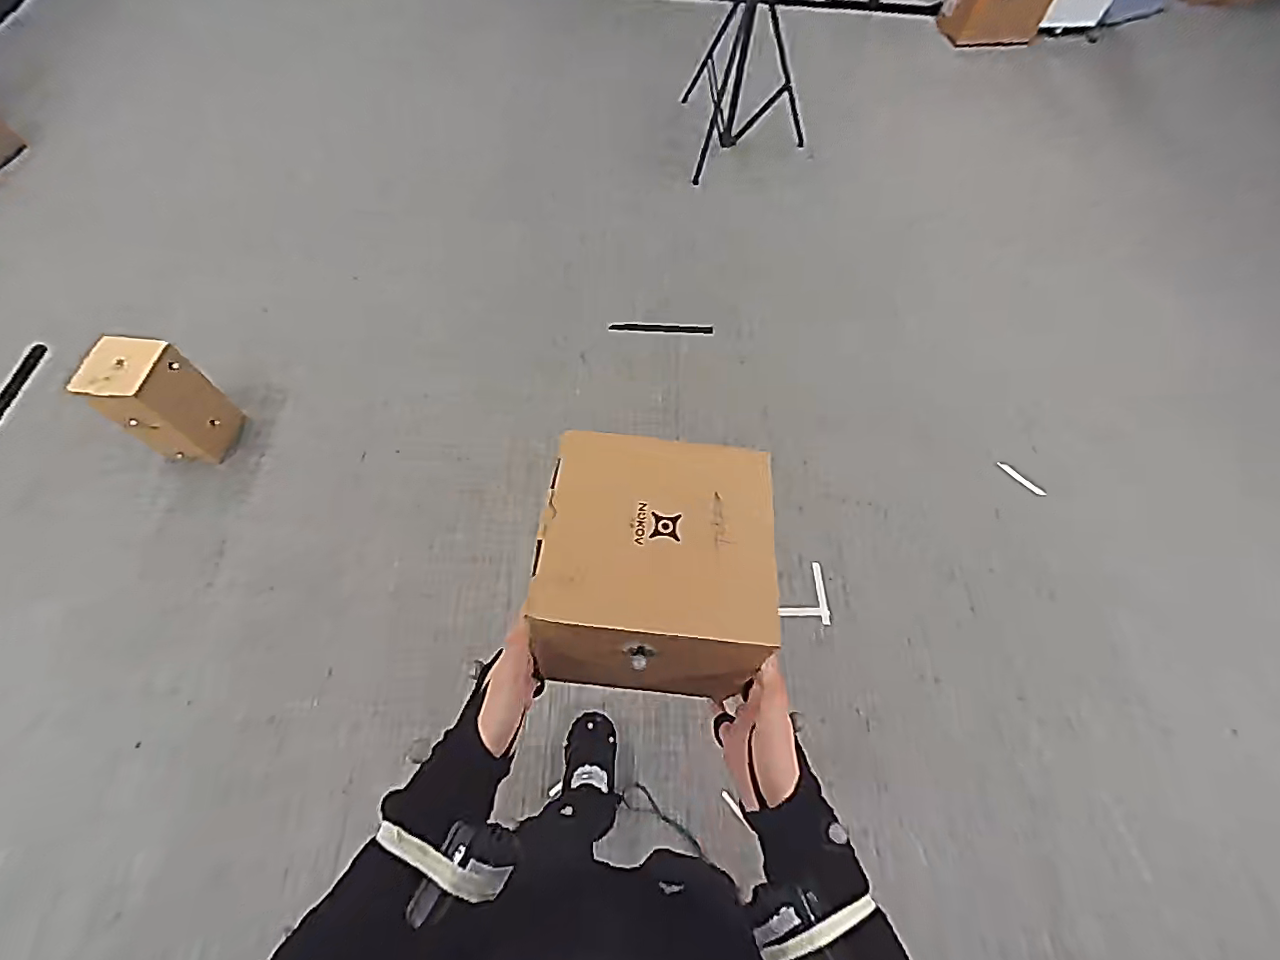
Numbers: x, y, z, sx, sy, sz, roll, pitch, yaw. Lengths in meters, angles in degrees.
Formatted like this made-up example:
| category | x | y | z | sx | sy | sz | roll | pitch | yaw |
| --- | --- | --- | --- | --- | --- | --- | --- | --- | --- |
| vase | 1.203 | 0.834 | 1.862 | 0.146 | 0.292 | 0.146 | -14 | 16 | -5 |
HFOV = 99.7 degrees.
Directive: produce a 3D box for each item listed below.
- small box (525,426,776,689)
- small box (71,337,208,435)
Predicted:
| category | x | y | z | sx | sy | sz | roll | pitch | yaw |
| --- | --- | --- | --- | --- | --- | --- | --- | --- | --- |
| small box | 0.008 | 0.076 | 0.476 | 0.179 | 0.176 | 0.168 | 7 | 57 | -2 |
| small box | -1.275 | -0.240 | 1.399 | 0.168 | 0.176 | 0.179 | 5 | 63 | 0 |
